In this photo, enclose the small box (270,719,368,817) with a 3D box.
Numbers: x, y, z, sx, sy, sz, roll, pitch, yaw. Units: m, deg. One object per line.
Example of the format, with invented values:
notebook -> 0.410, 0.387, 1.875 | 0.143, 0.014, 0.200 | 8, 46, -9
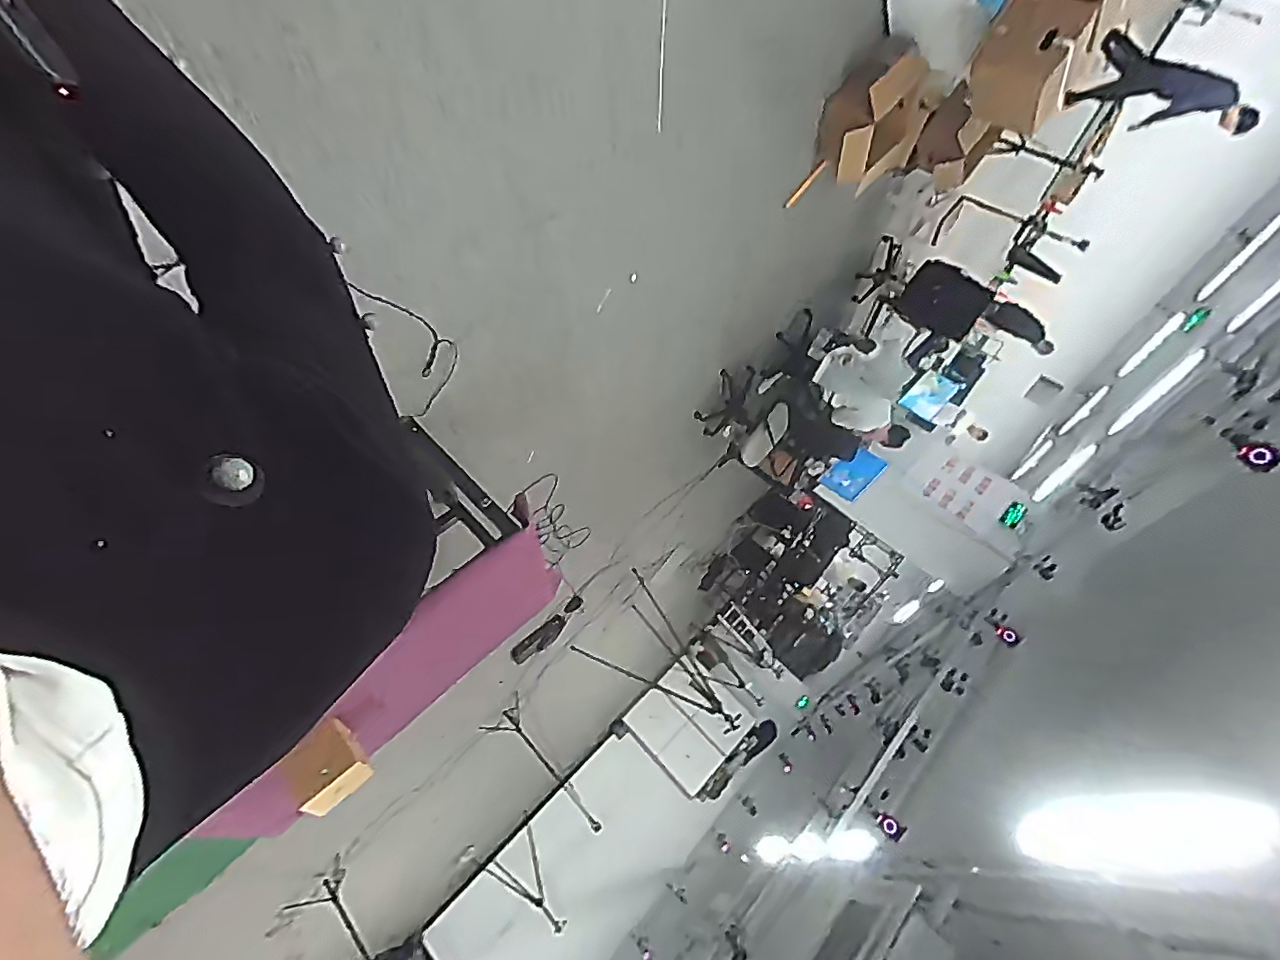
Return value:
small box -> -0.953, 0.850, 1.600 | 0.179, 0.176, 0.168 | -38, 155, -30
